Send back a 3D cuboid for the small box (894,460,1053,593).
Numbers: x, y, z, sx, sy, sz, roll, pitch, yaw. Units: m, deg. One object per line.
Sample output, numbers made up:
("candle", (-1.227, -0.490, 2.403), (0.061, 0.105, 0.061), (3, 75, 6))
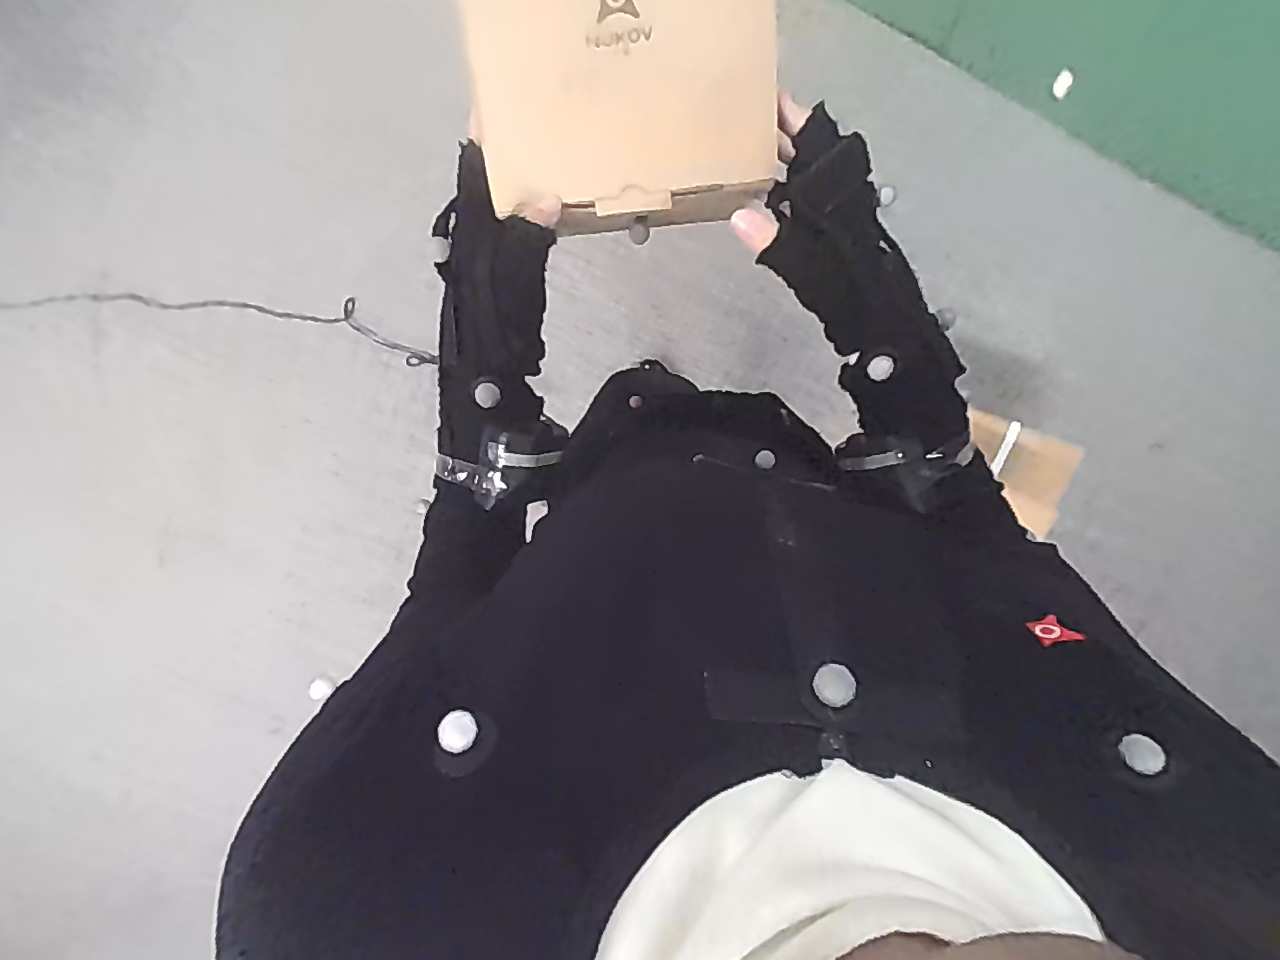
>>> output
("small box", (0.620, 0.081, 1.038), (0.168, 0.176, 0.179), (25, 101, -3))
